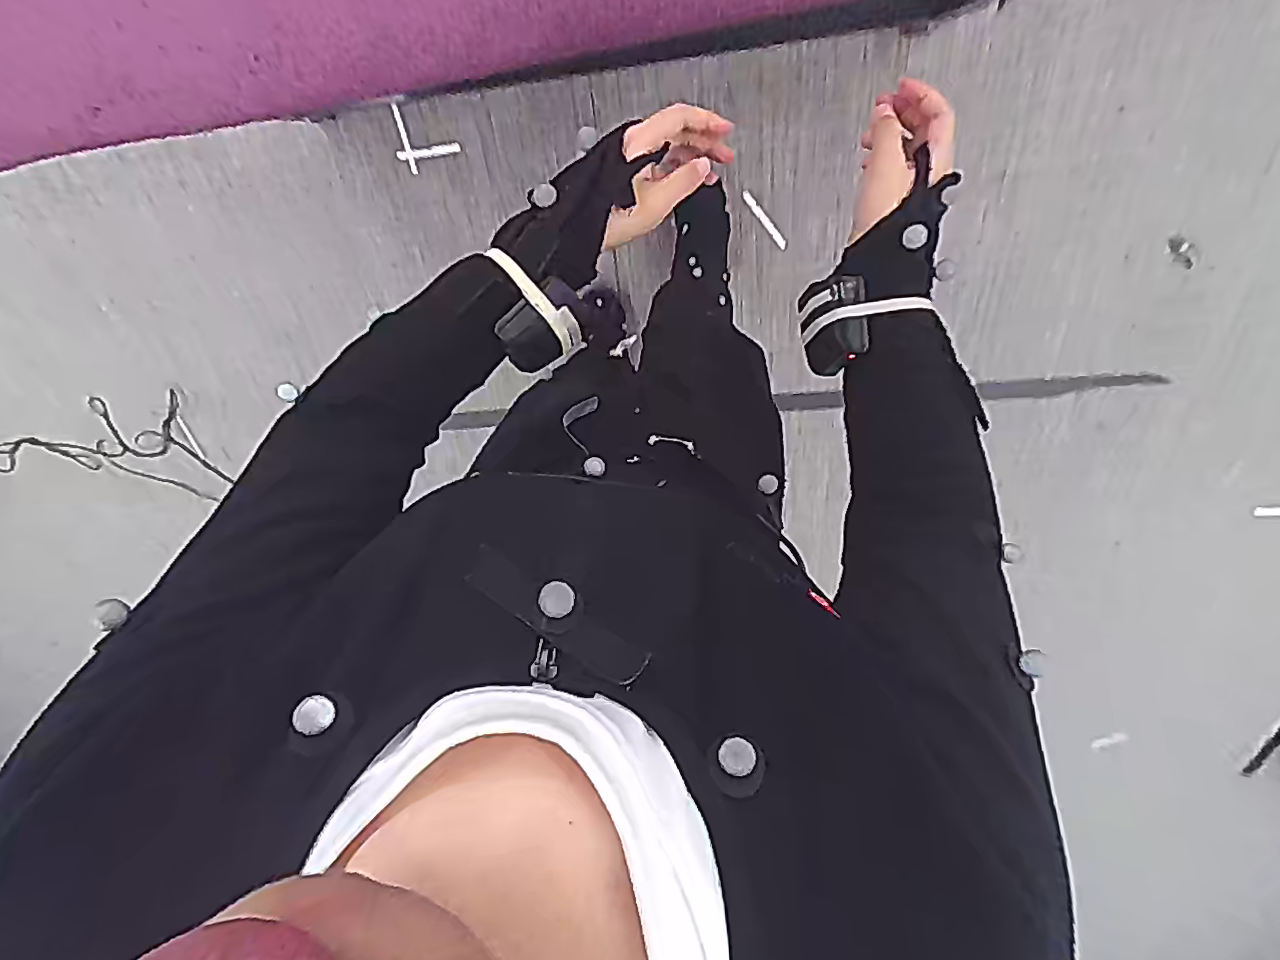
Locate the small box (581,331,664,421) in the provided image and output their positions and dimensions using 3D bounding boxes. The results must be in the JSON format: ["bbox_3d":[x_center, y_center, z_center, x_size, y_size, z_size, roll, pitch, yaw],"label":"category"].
[{"bbox_3d":[-0.040,-0.237,1.214,0.179,0.176,0.168,1,116,-1],"label":"small box"}]
